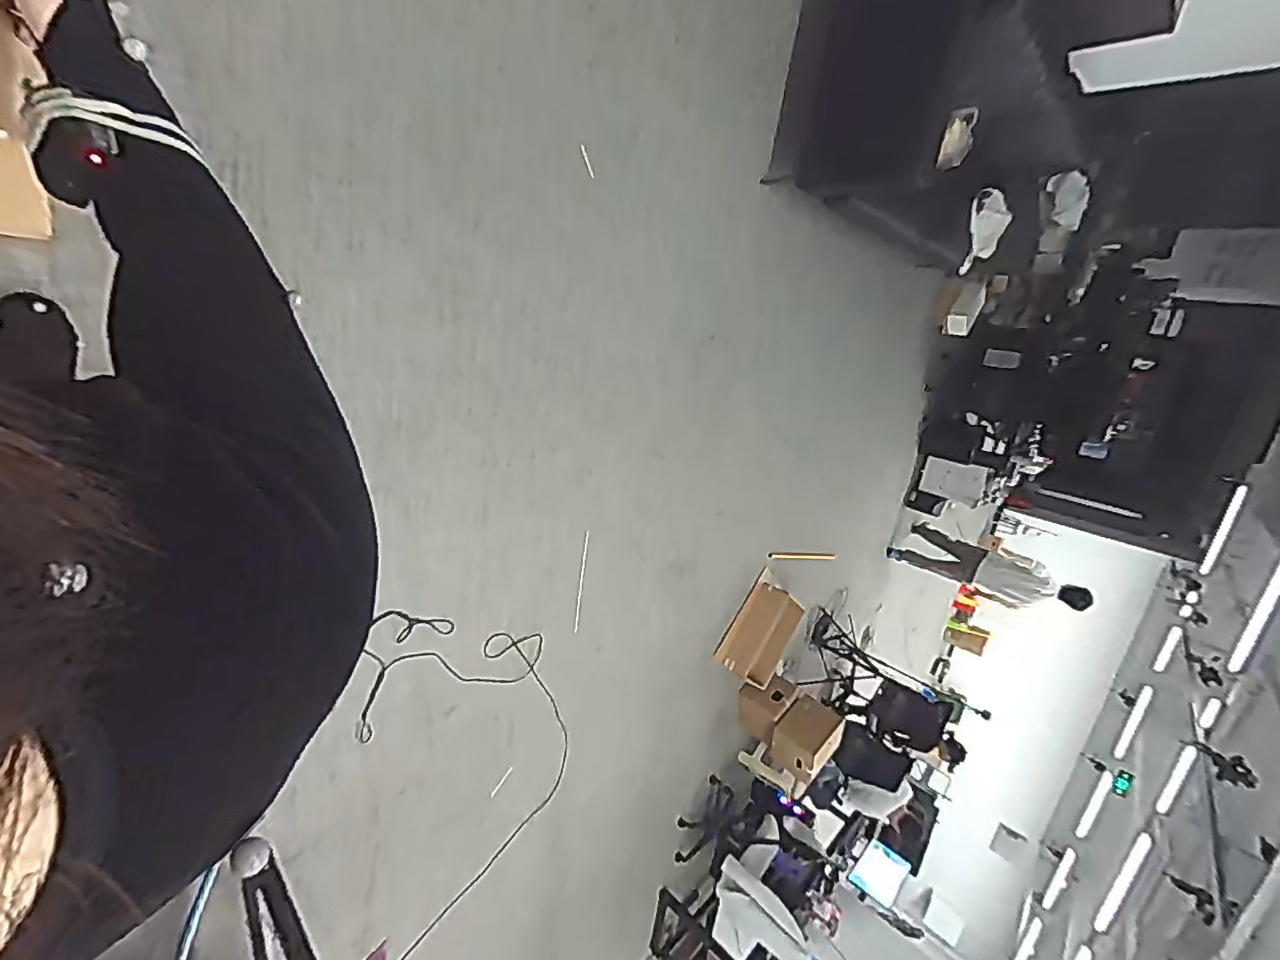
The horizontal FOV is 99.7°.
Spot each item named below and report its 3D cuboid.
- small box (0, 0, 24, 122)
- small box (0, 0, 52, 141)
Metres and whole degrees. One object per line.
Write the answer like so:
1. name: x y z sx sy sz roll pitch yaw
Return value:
1. small box: -0.595 -0.389 0.389 0.179 0.176 0.168 6 101 -34
2. small box: -0.708 -0.448 0.521 0.179 0.176 0.168 -9 112 -45
